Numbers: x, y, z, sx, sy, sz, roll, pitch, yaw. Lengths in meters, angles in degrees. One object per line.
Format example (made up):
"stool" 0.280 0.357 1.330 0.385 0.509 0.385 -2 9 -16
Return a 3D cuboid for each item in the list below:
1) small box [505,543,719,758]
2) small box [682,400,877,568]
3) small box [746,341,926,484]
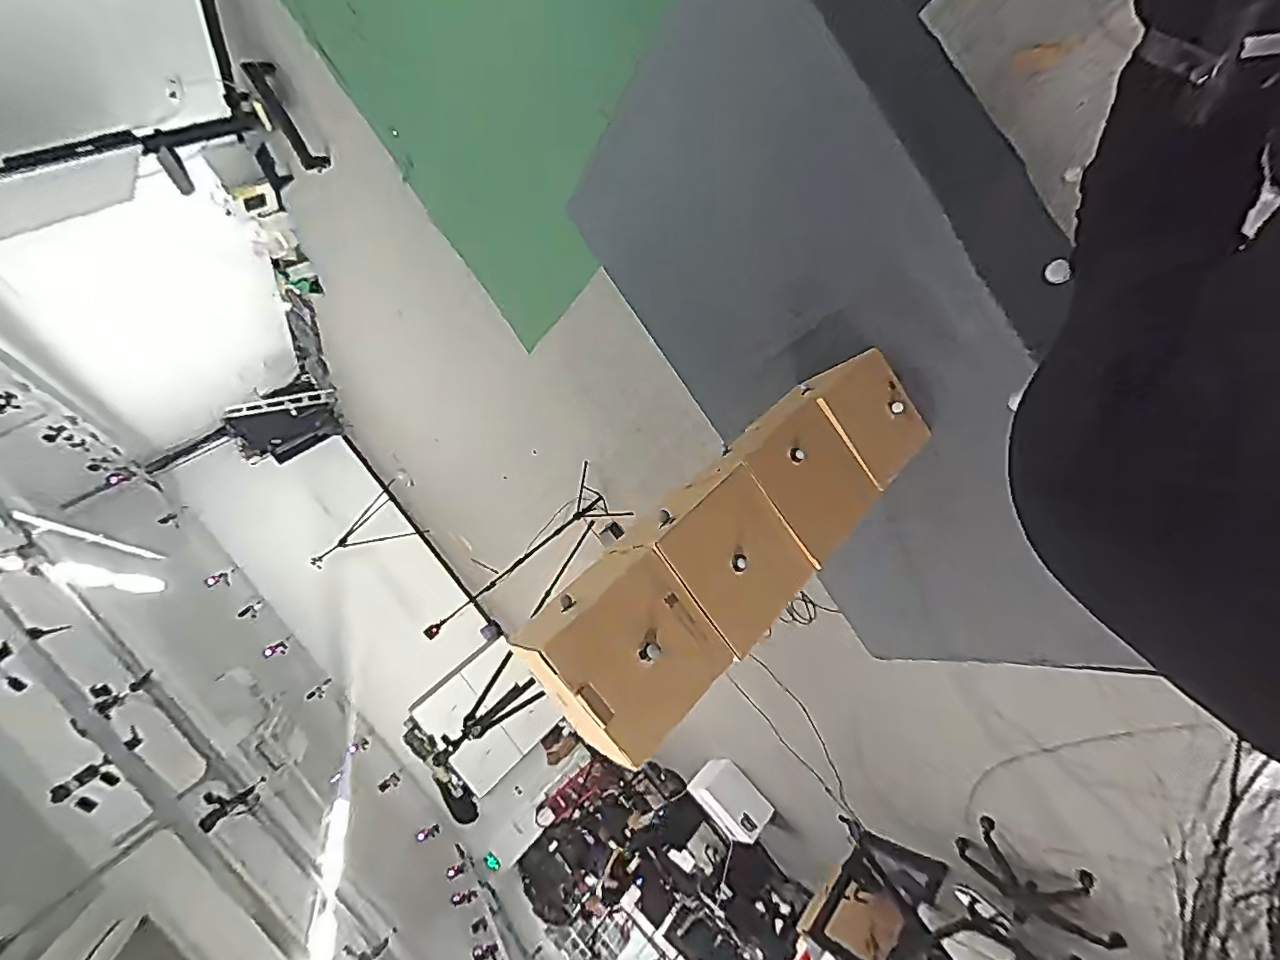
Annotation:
"small box" -0.030 0.191 0.651 0.168 0.176 0.179 54 152 -5
"small box" 0.201 0.004 0.788 0.179 0.176 0.168 53 152 -4
"small box" 0.311 -0.090 0.863 0.168 0.176 0.179 54 150 -7
